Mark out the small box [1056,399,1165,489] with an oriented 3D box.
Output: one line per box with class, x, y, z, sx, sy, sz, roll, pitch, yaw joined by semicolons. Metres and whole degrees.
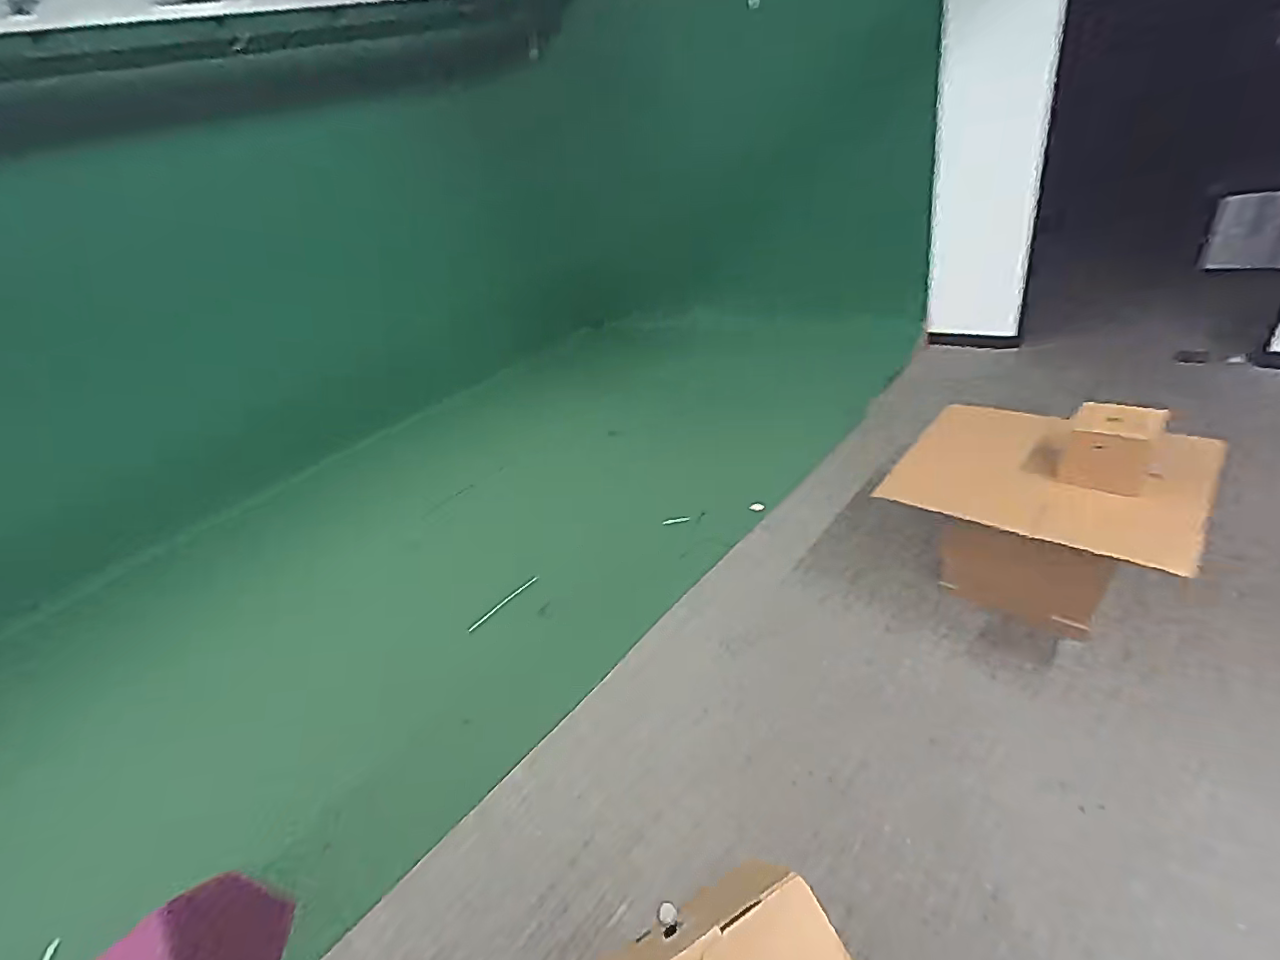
small box;1.234;-0.096;1.428;0.168;0.176;0.179;-37;36;-29
